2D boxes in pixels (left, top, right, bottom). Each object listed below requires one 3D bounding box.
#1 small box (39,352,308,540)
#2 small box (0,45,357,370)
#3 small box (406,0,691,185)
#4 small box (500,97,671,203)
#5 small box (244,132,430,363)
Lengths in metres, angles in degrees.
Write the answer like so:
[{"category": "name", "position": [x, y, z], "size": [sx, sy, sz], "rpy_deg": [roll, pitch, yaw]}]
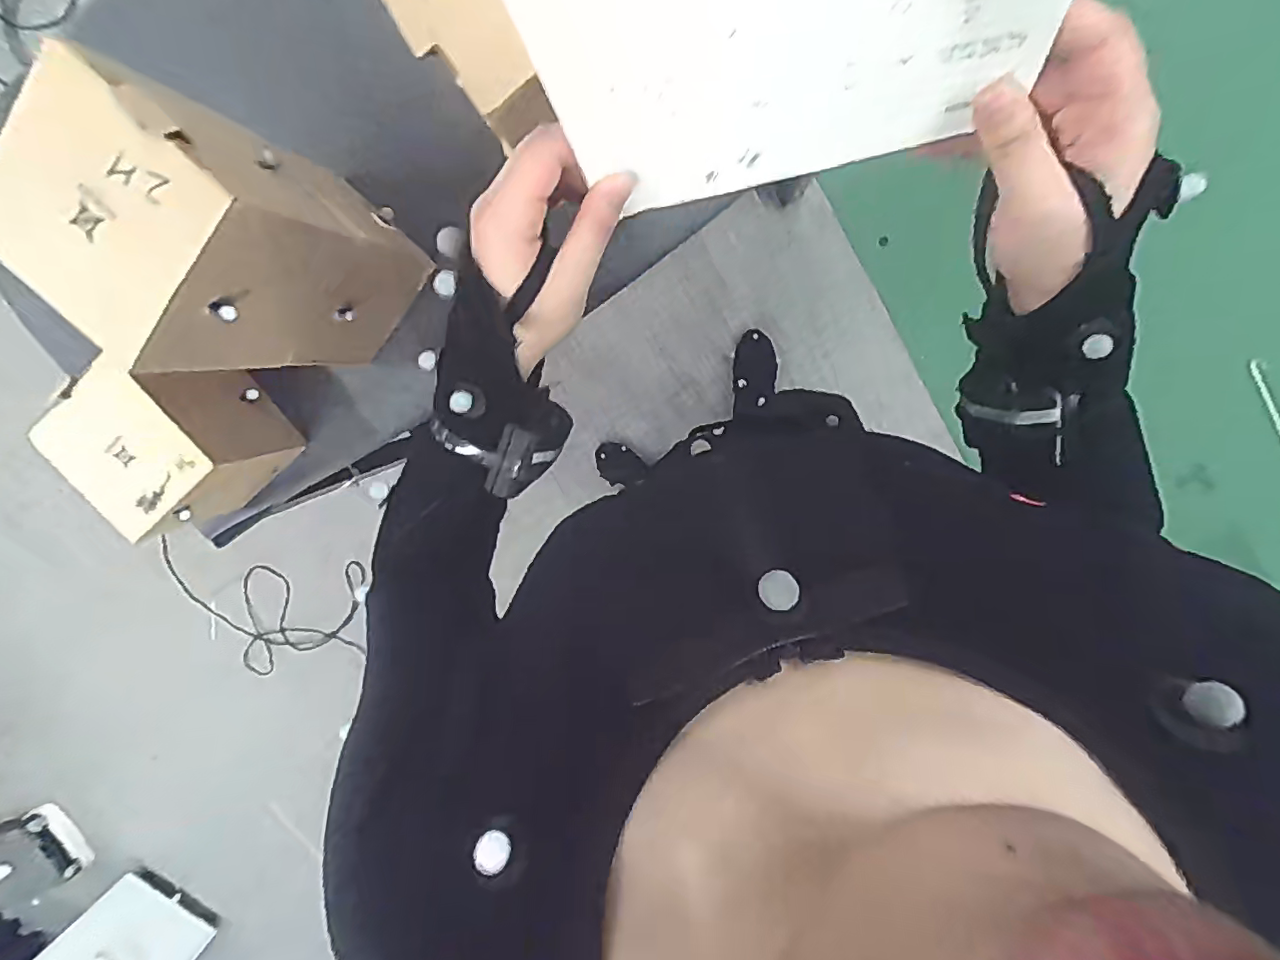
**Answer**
[{"category": "small box", "position": [-0.603, -0.054, 0.722], "size": [0.168, 0.176, 0.179], "rpy_deg": [-37, 96, 14]}, {"category": "small box", "position": [-0.406, -0.221, 0.496], "size": [0.168, 0.176, 0.179], "rpy_deg": [43, 103, -5]}, {"category": "small box", "position": [-0.071, -0.376, 0.424], "size": [0.179, 0.176, 0.168], "rpy_deg": [-32, 97, 13]}, {"category": "small box", "position": [-0.069, -0.431, 0.579], "size": [0.168, 0.176, 0.179], "rpy_deg": [-16, 101, 10]}, {"category": "small box", "position": [-0.391, -0.261, 0.655], "size": [0.168, 0.176, 0.179], "rpy_deg": [40, 104, -5]}]
